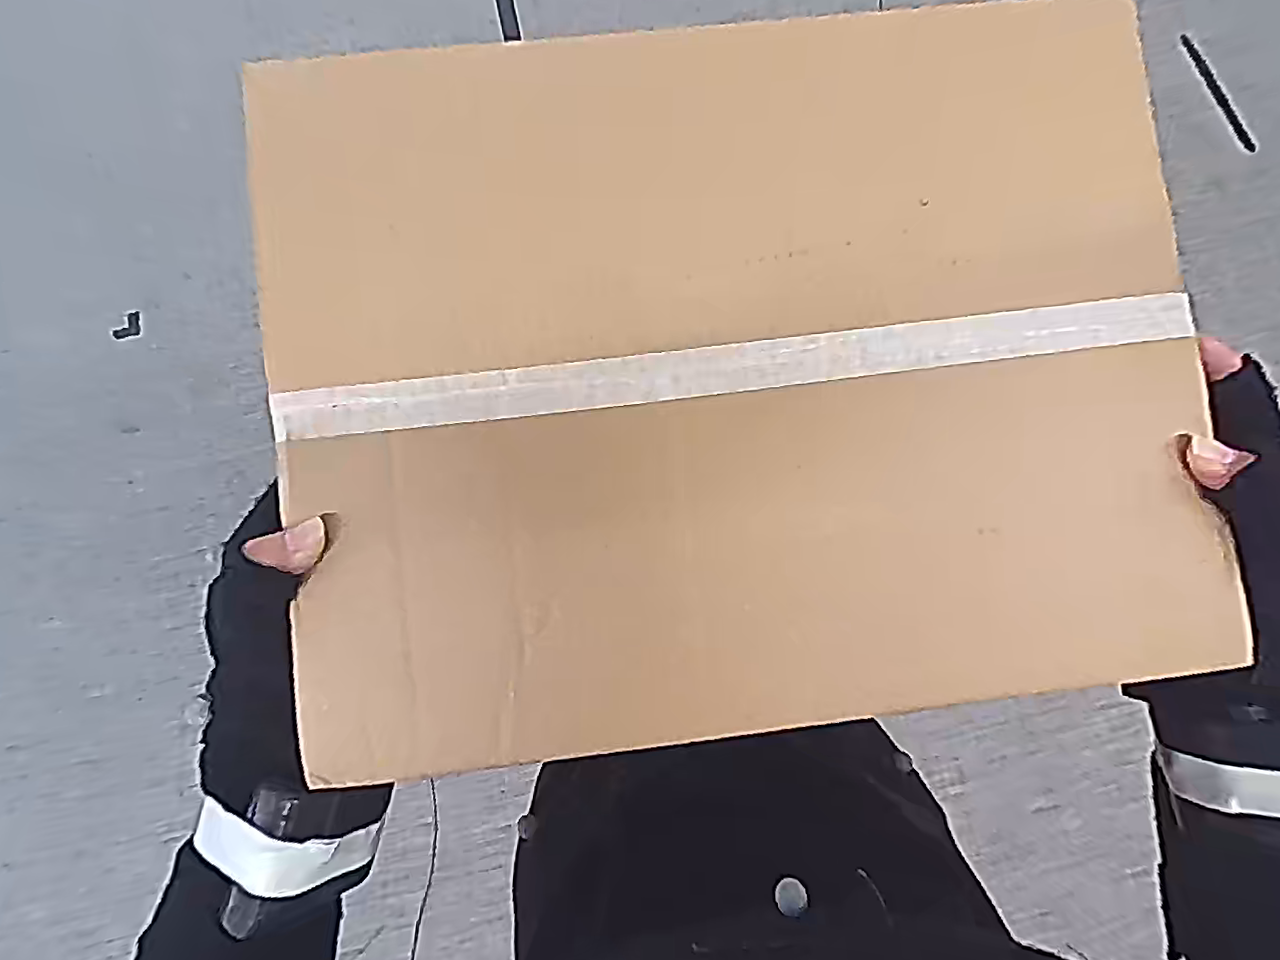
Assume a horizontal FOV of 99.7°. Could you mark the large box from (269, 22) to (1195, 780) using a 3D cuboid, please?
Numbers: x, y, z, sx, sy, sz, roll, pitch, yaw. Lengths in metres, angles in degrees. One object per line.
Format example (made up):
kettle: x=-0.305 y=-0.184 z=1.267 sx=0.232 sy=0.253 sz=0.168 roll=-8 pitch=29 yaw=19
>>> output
large box: x=0.041 y=-0.039 z=0.398 sx=0.408 sy=0.320 sz=0.320 roll=-7 pitch=87 yaw=-2
